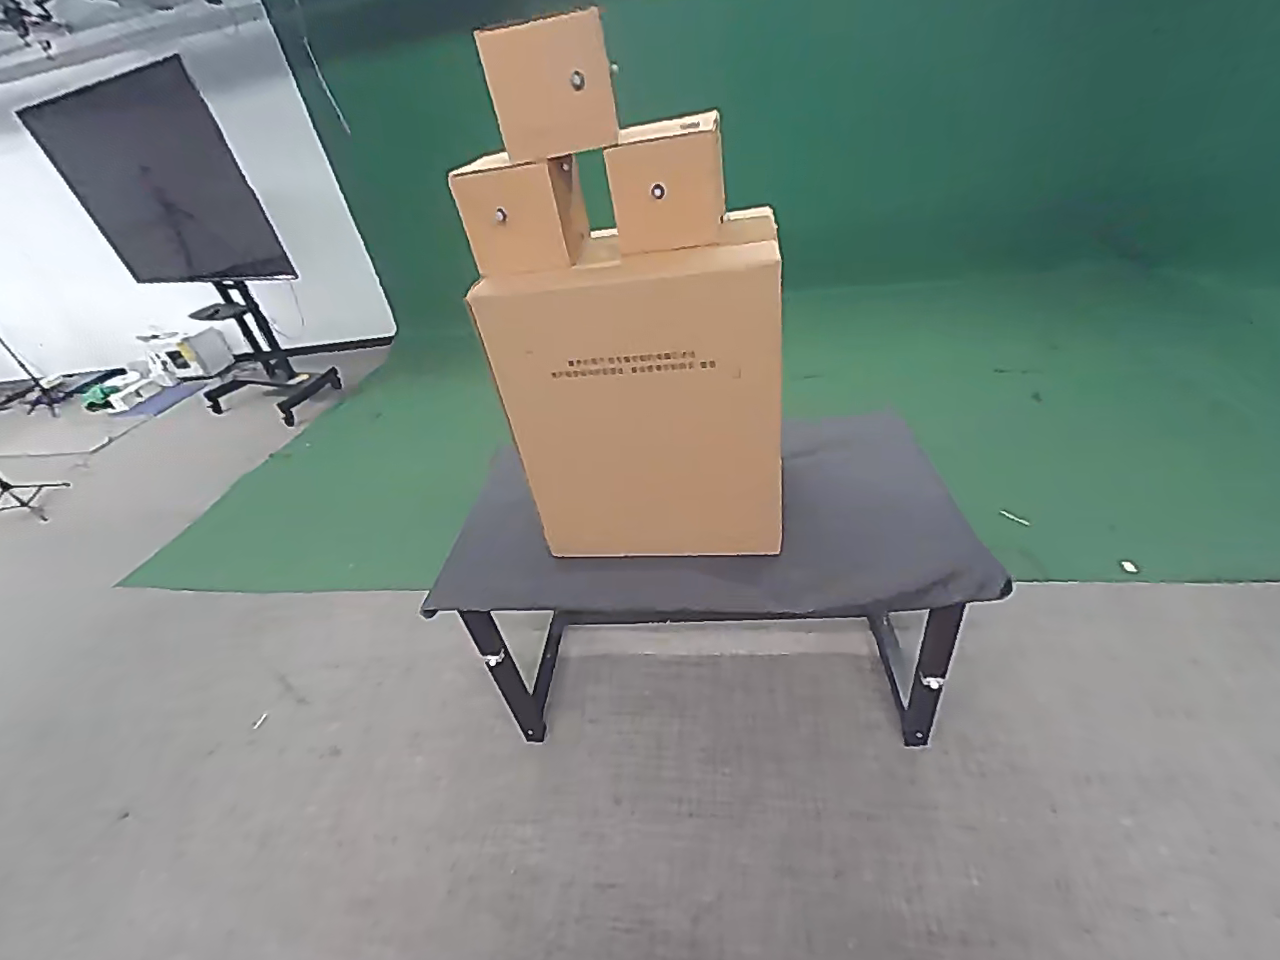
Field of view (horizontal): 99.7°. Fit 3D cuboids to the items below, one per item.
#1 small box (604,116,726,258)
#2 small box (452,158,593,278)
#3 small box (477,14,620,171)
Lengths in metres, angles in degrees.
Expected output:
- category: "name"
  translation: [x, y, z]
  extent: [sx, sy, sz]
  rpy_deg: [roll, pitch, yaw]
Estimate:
- category: "small box"
  translation: [0.054, -0.504, 0.937]
  extent: [0.179, 0.176, 0.168]
  rpy_deg: [-2, 40, 14]
- category: "small box"
  translation: [-0.200, -0.477, 0.976]
  extent: [0.179, 0.176, 0.168]
  rpy_deg: [-1, 40, 13]
- category: "small box"
  translation: [-0.130, -0.610, 0.859]
  extent: [0.179, 0.176, 0.168]
  rpy_deg: [-9, 37, 6]
